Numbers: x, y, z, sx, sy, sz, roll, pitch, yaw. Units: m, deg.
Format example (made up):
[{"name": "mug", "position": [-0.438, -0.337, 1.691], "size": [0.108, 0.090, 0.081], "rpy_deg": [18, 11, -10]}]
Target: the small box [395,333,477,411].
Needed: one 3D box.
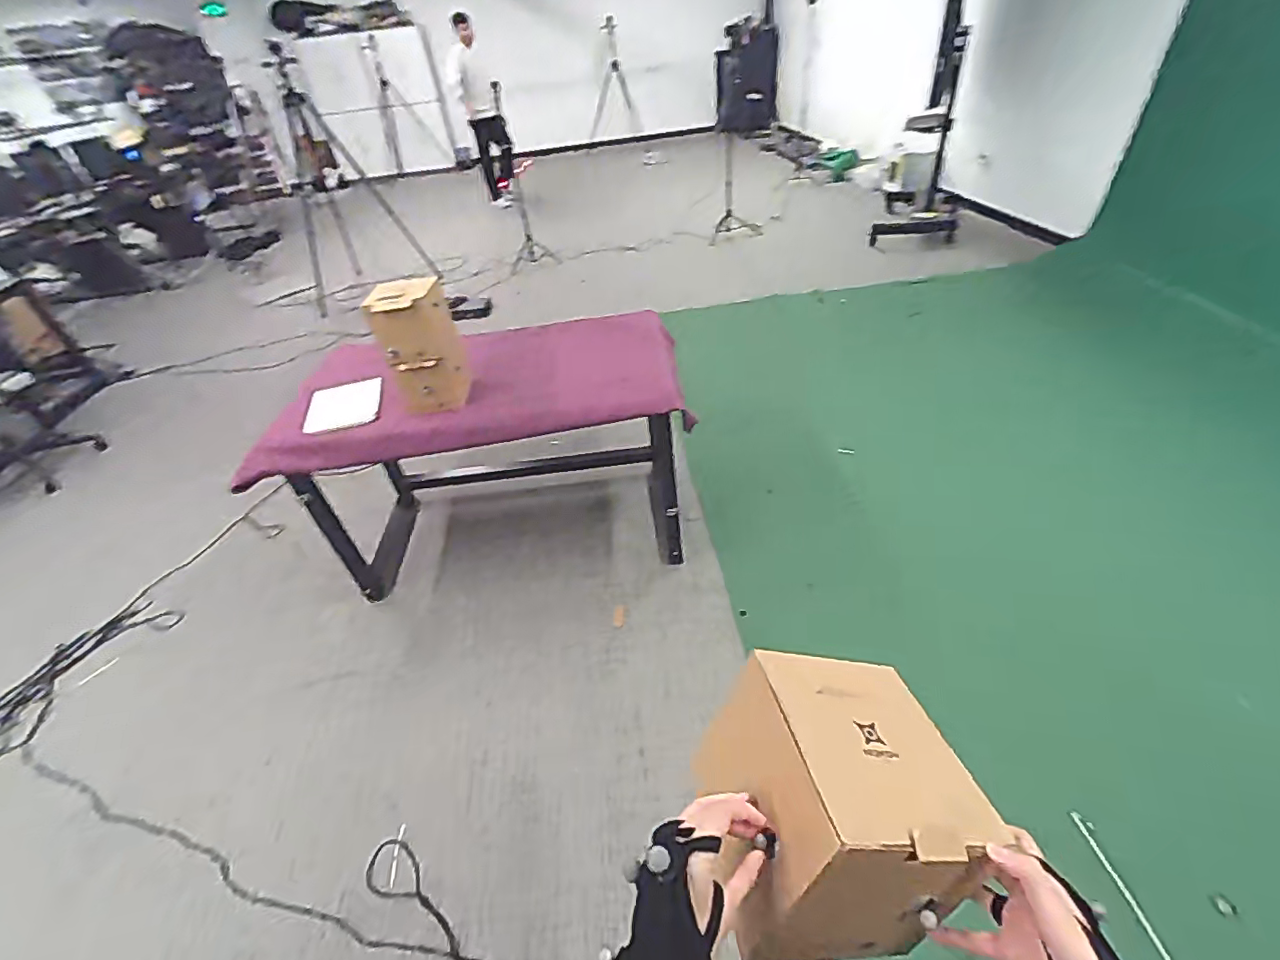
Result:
[{"name": "small box", "position": [-0.599, -0.317, 1.615], "size": [0.168, 0.176, 0.179], "rpy_deg": [-6, 40, 0]}]

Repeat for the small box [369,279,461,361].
[{"name": "small box", "position": [-0.615, -0.440, 1.505], "size": [0.168, 0.176, 0.179], "rpy_deg": [-7, 38, 1]}]
